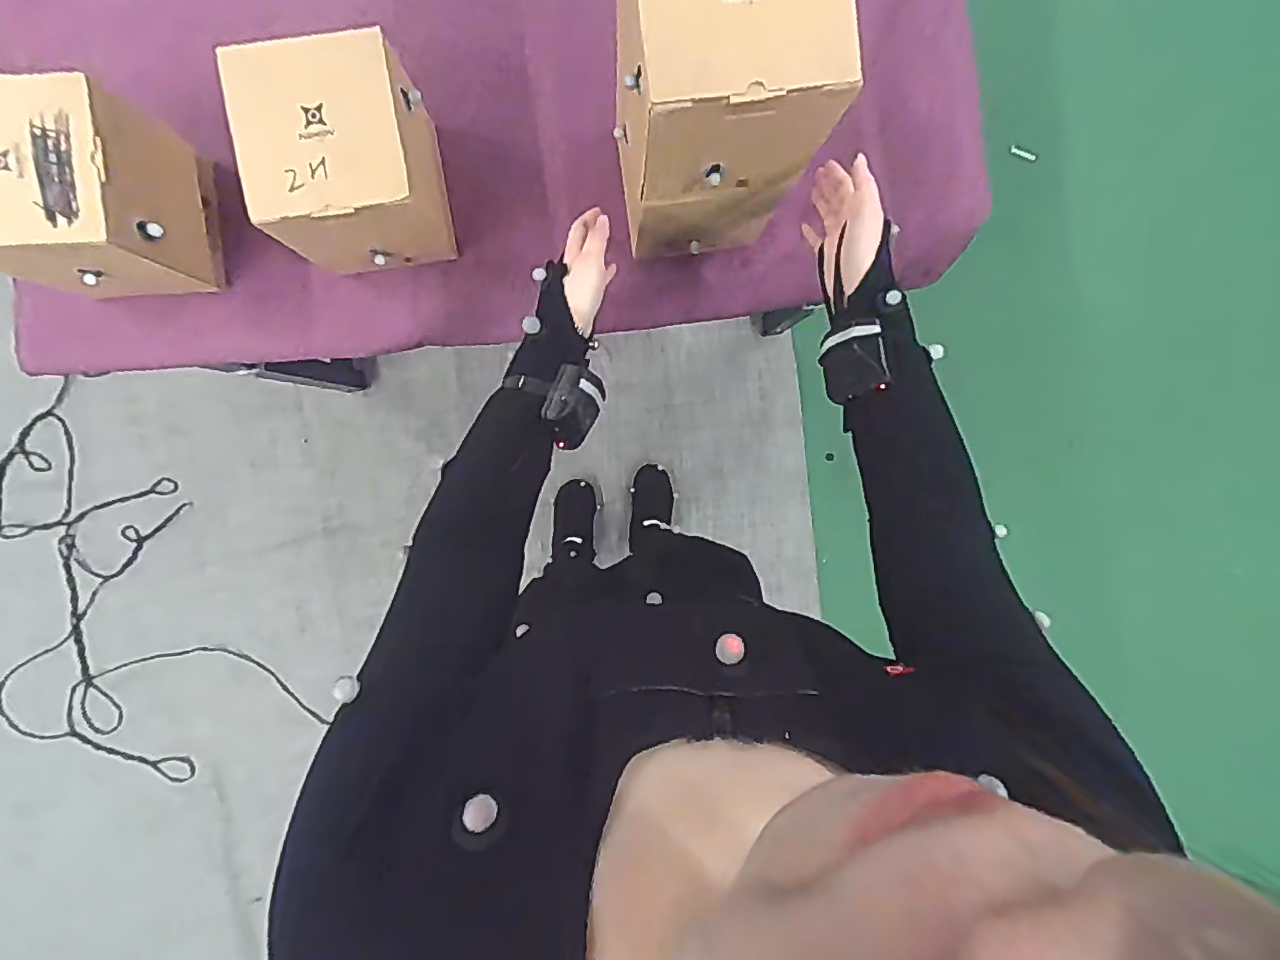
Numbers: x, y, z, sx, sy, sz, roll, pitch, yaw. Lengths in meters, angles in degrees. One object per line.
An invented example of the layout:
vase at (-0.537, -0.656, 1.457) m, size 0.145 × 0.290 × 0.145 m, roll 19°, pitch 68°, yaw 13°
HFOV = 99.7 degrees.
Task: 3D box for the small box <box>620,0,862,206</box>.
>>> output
small box at (0.074, -0.377, 0.484) m, size 0.168 × 0.176 × 0.179 m, roll -8°, pitch 94°, yaw -2°

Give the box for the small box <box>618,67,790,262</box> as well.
small box at (0.065, -0.383, 0.646) m, size 0.168 × 0.176 × 0.179 m, roll -8°, pitch 95°, yaw -2°

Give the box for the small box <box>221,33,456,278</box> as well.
small box at (-0.329, -0.357, 0.625) m, size 0.168 × 0.176 × 0.179 m, roll -9°, pitch 93°, yaw -2°
